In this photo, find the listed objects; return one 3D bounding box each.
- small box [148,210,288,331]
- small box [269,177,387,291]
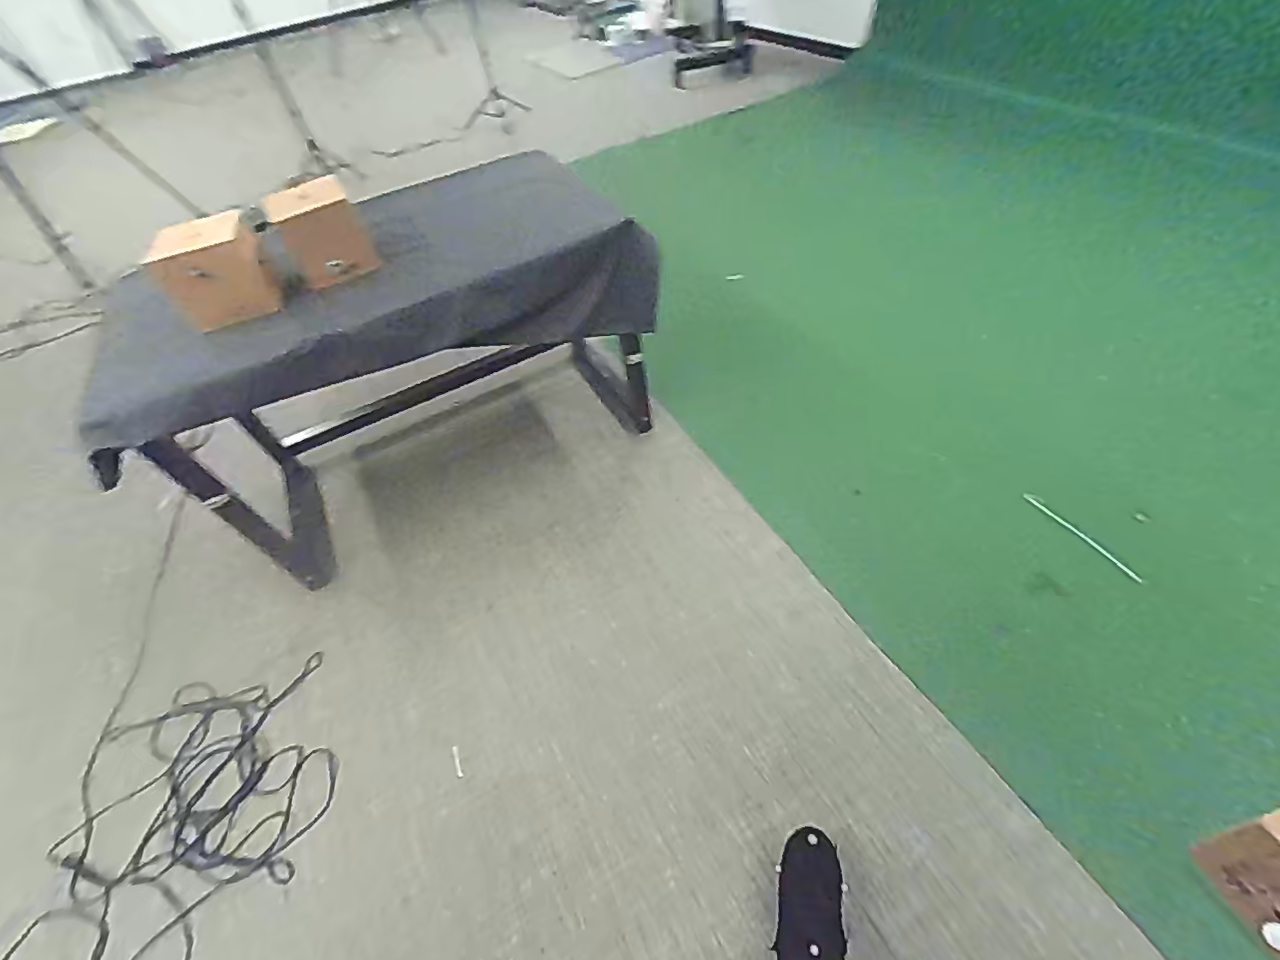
[{"bbox_3d":[-0.911,-0.458,1.190,0.179,0.176,0.168,-21,51,-9],"label":"small box"},{"bbox_3d":[-0.723,-0.571,1.261,0.168,0.176,0.179,-30,53,-15],"label":"small box"}]
